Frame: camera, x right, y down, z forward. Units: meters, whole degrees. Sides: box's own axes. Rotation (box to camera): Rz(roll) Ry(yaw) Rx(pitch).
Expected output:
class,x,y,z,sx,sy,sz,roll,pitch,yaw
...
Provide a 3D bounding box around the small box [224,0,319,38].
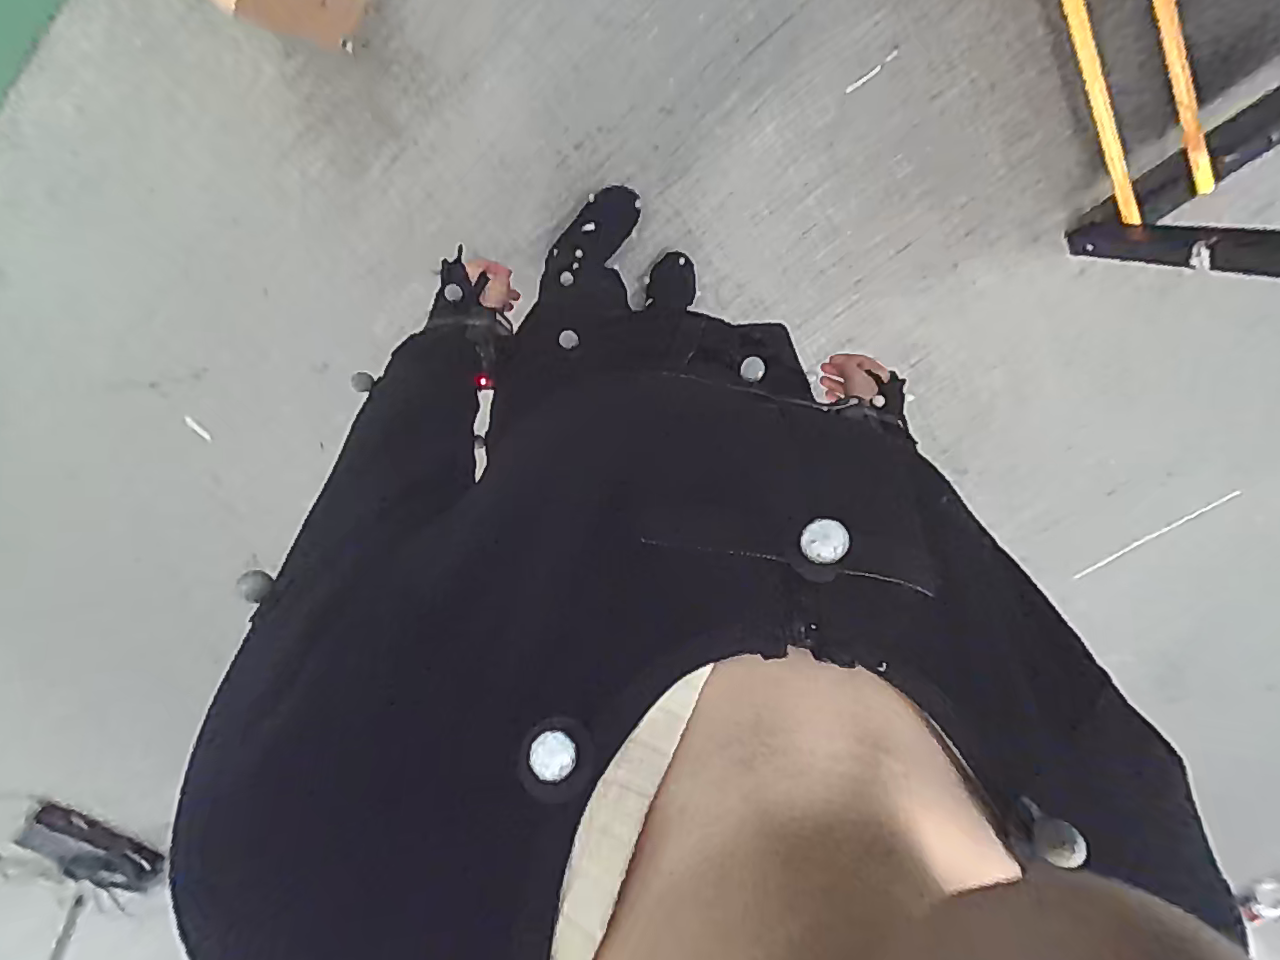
class,x,y,z,sx,sy,sz,roll,pitch,yaw
small box,-0.562,-0.787,0.763,0.168,0.176,0.179,37,111,-17
